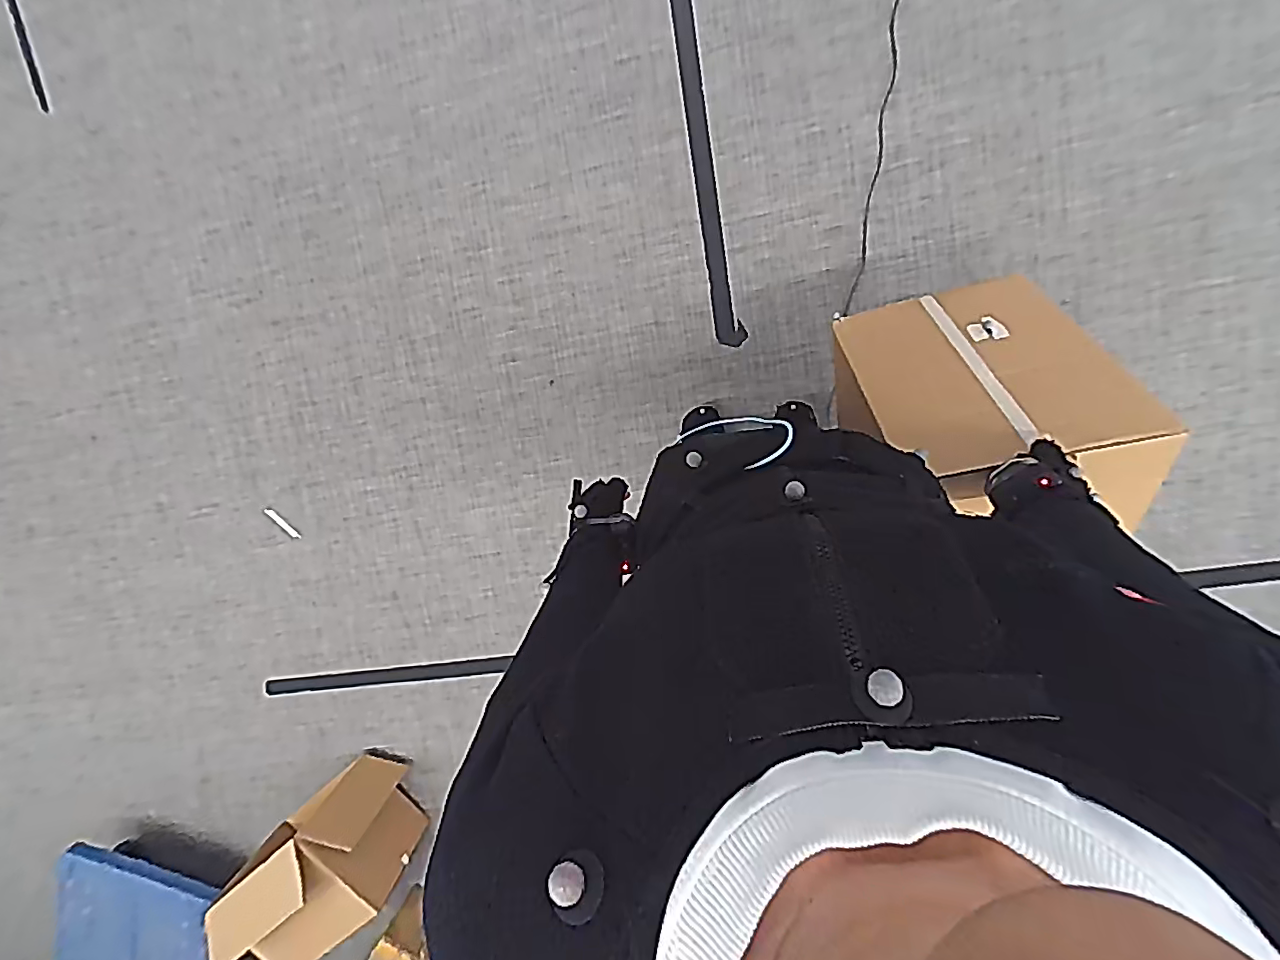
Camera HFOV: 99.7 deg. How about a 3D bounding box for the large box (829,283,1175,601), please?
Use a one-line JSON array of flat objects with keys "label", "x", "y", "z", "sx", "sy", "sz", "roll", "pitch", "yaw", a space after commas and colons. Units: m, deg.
[{"label": "large box", "x": 0.535, "y": -0.065, "z": 0.911, "sx": 0.320, "sy": 0.408, "sz": 0.320, "roll": -12, "pitch": 134, "yaw": 10}]
